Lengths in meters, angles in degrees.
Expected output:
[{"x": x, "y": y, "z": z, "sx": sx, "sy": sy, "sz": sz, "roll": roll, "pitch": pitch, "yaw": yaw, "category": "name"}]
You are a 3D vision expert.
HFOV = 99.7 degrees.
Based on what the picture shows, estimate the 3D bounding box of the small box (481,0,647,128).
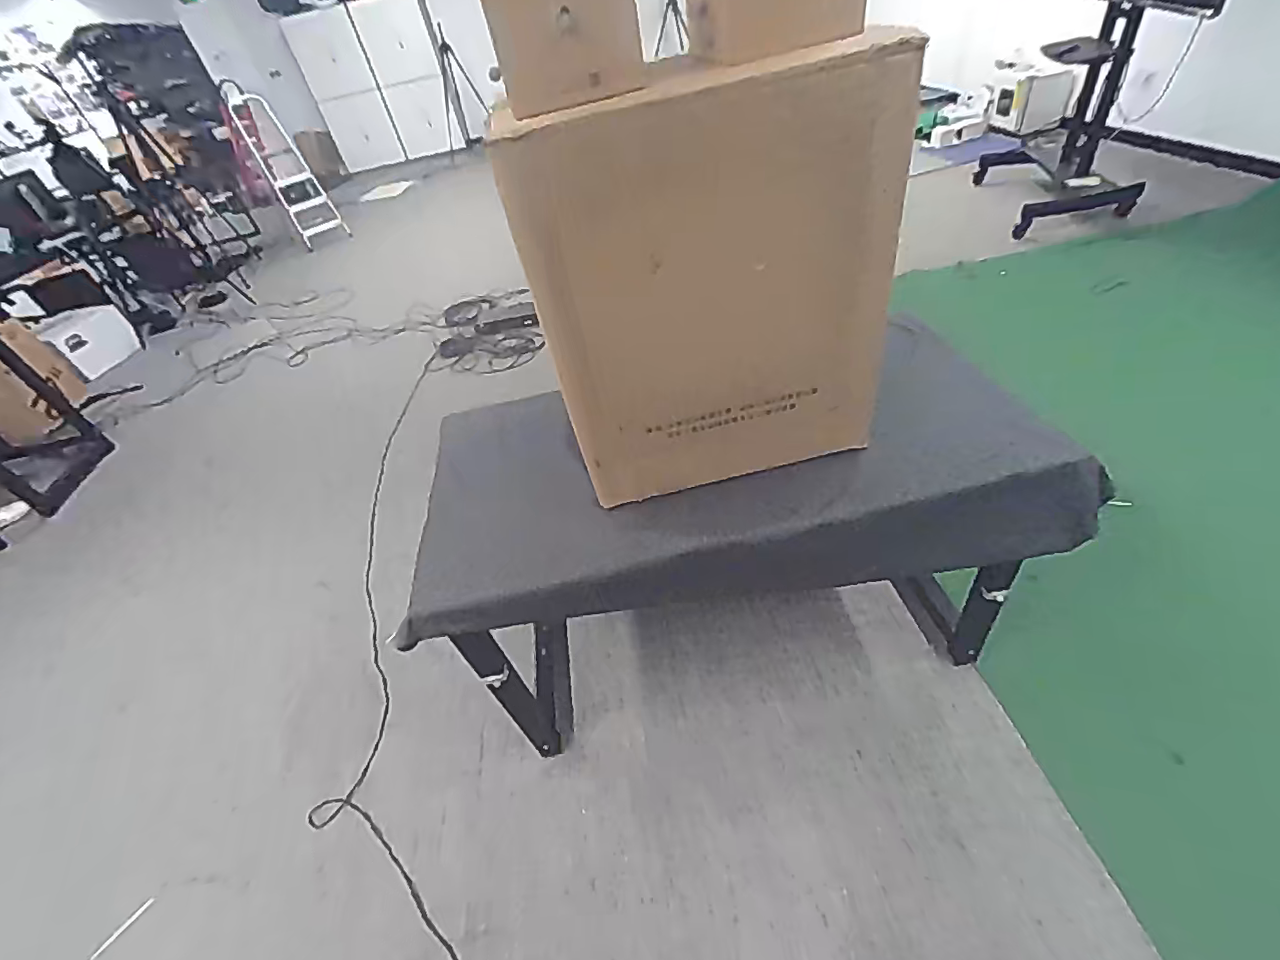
[{"x": -0.096, "y": -0.547, "z": 0.652, "sx": 0.168, "sy": 0.176, "sz": 0.179, "roll": -15, "pitch": 44, "yaw": -2, "category": "small box"}]

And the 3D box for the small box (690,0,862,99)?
[{"x": 0.164, "y": -0.603, "z": 0.674, "sx": 0.179, "sy": 0.176, "sz": 0.168, "roll": -16, "pitch": 43, "yaw": -3, "category": "small box"}]
